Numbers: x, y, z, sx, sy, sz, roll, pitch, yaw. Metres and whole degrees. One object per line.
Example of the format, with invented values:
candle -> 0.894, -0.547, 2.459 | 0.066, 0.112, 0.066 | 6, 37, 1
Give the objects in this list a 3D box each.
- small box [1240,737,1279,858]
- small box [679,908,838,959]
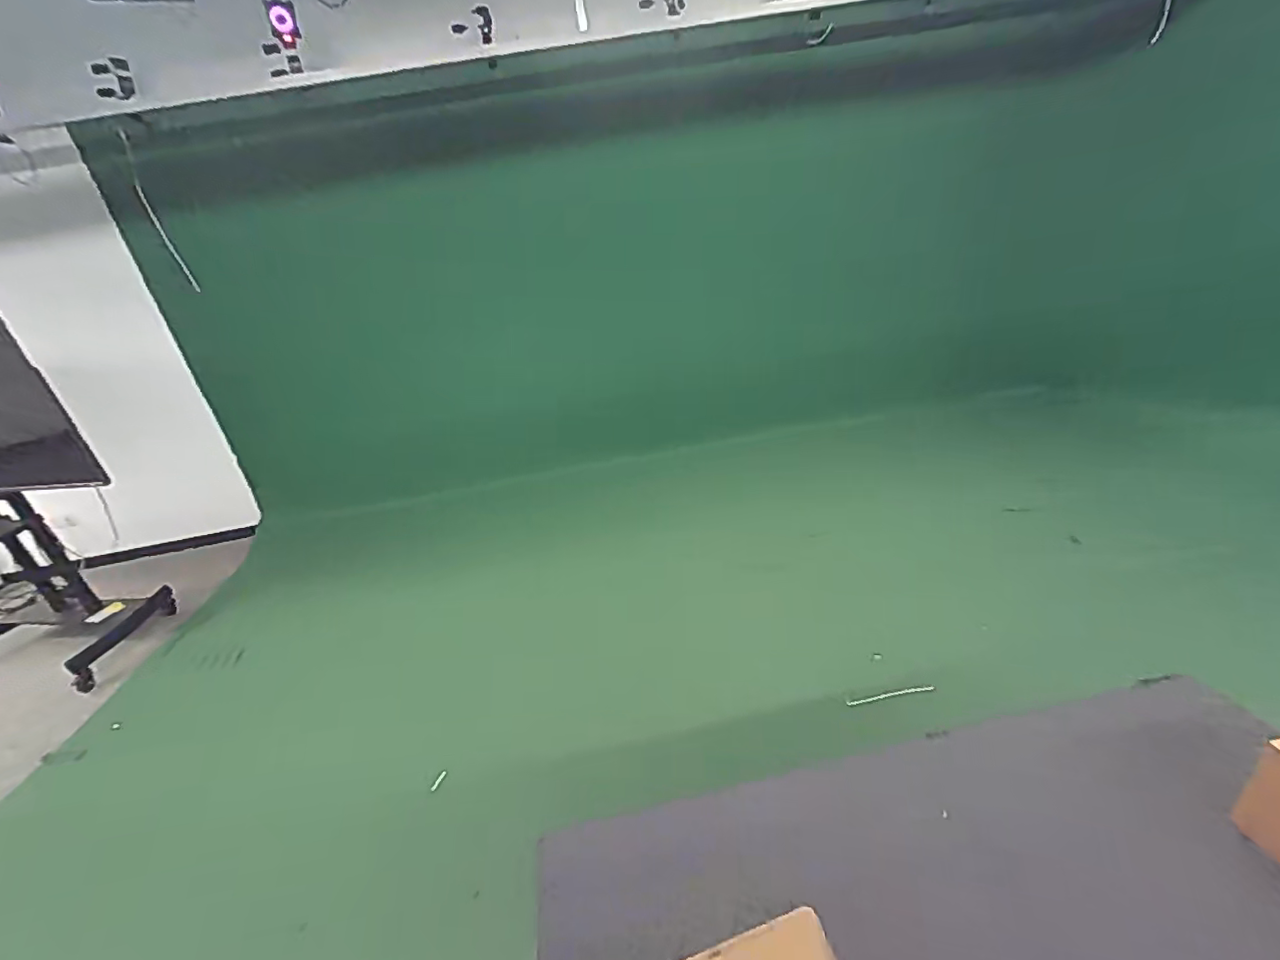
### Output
small box -> 0.928, 0.435, 0.667 | 0.168, 0.176, 0.179 | -10, 23, -1
small box -> 0.109, 0.485, 0.419 | 0.168, 0.176, 0.179 | -25, 63, 2
